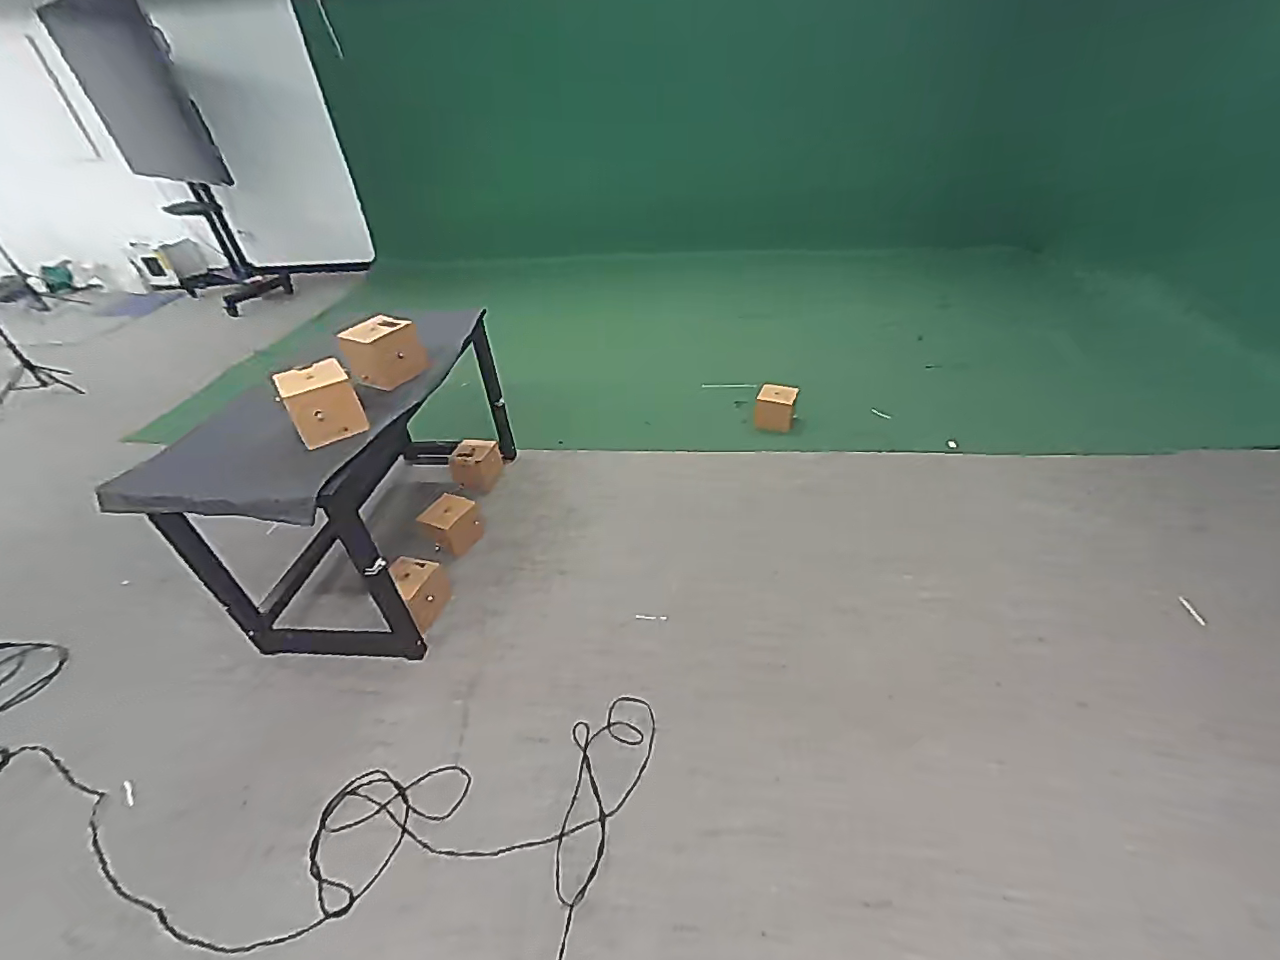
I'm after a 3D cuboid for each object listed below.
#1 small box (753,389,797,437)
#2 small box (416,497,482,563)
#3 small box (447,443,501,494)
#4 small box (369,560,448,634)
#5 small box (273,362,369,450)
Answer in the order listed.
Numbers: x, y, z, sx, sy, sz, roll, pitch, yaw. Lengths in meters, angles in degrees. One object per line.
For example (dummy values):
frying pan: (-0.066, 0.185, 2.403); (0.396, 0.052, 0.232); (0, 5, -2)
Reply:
small box: (0.679, -0.336, 2.730); (0.179, 0.176, 0.168); (14, 41, 21)
small box: (-0.757, 0.199, 2.168); (0.168, 0.176, 0.179); (13, 42, 22)
small box: (-0.756, -0.050, 2.489); (0.168, 0.176, 0.179); (4, 37, 10)
small box: (-0.803, 0.412, 1.897); (0.168, 0.176, 0.179); (8, 40, 15)
small box: (-0.885, -0.204, 1.509); (0.168, 0.176, 0.179); (-27, 43, -27)
